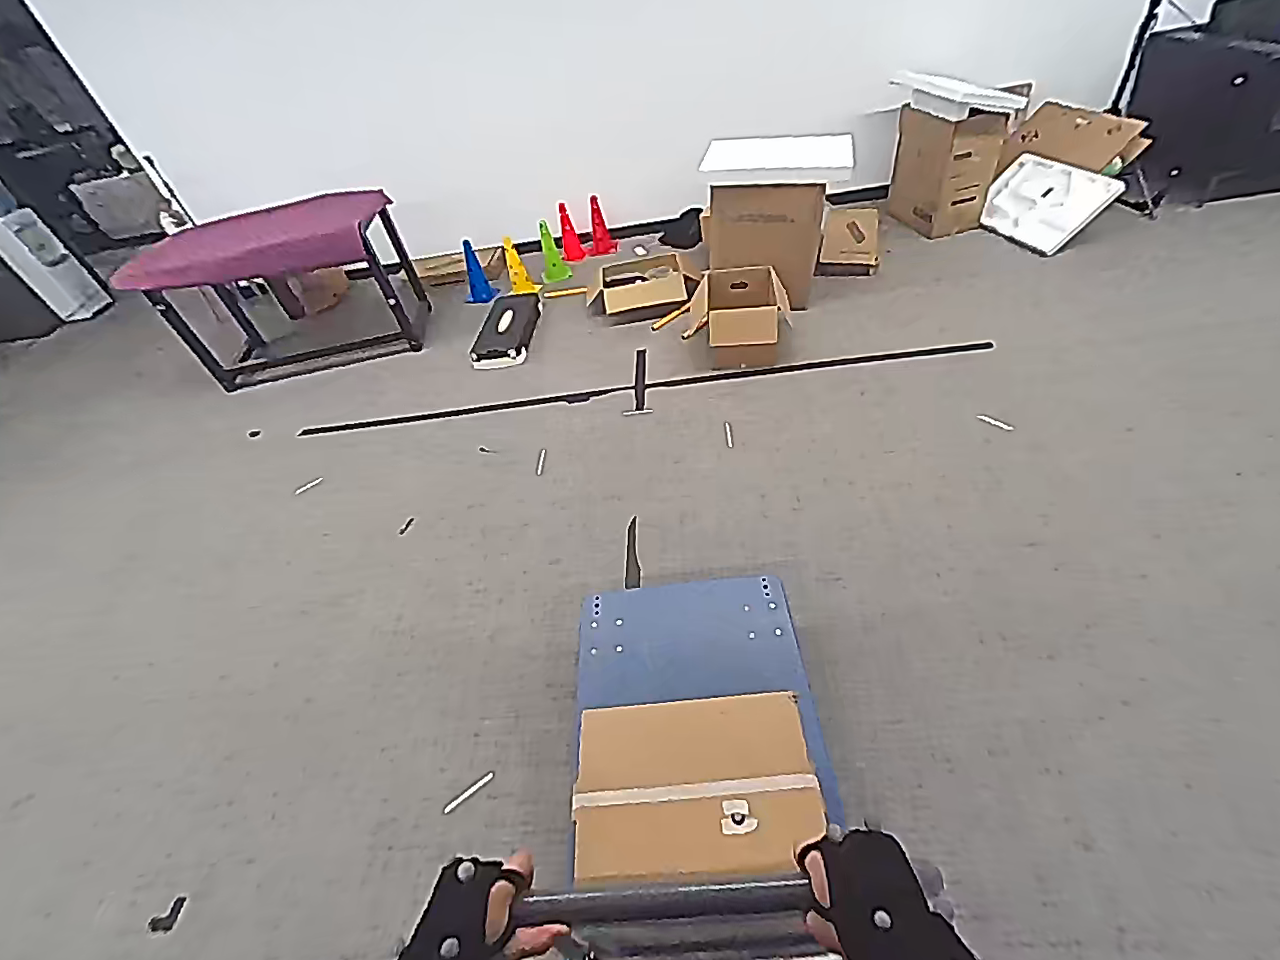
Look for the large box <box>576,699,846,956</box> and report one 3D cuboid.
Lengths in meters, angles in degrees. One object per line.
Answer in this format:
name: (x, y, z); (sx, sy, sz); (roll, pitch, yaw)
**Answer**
large box: (0.112, 0.637, 0.991); (0.408, 0.320, 0.320); (-7, 44, 4)
